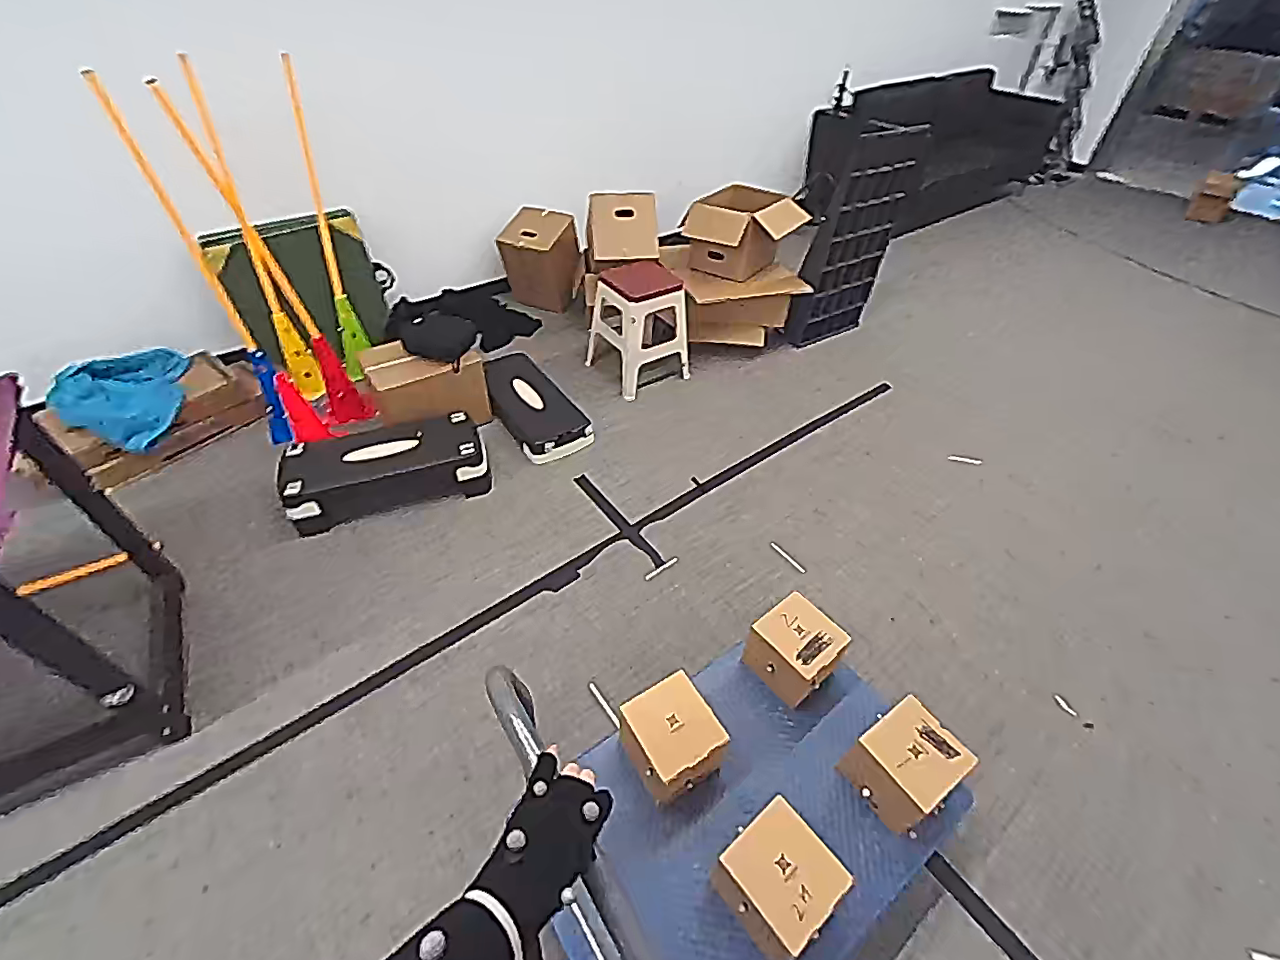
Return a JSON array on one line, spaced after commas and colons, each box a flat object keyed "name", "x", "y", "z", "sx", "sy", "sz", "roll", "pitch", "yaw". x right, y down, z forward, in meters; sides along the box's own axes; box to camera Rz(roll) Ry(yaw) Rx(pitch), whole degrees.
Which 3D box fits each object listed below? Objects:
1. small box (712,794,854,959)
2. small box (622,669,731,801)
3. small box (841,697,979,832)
[{"name": "small box", "x": 0.252, "y": 0.734, "z": 1.001, "sx": 0.168, "sy": 0.176, "sz": 0.179, "roll": -28, "pitch": 52, "yaw": -27}, {"name": "small box", "x": 0.070, "y": 0.554, "z": 1.175, "sx": 0.168, "sy": 0.176, "sz": 0.179, "roll": -22, "pitch": 51, "yaw": -24}, {"name": "small box", "x": 0.562, "y": 0.604, "z": 1.150, "sx": 0.179, "sy": 0.176, "sz": 0.168, "roll": -24, "pitch": 51, "yaw": -24}]
